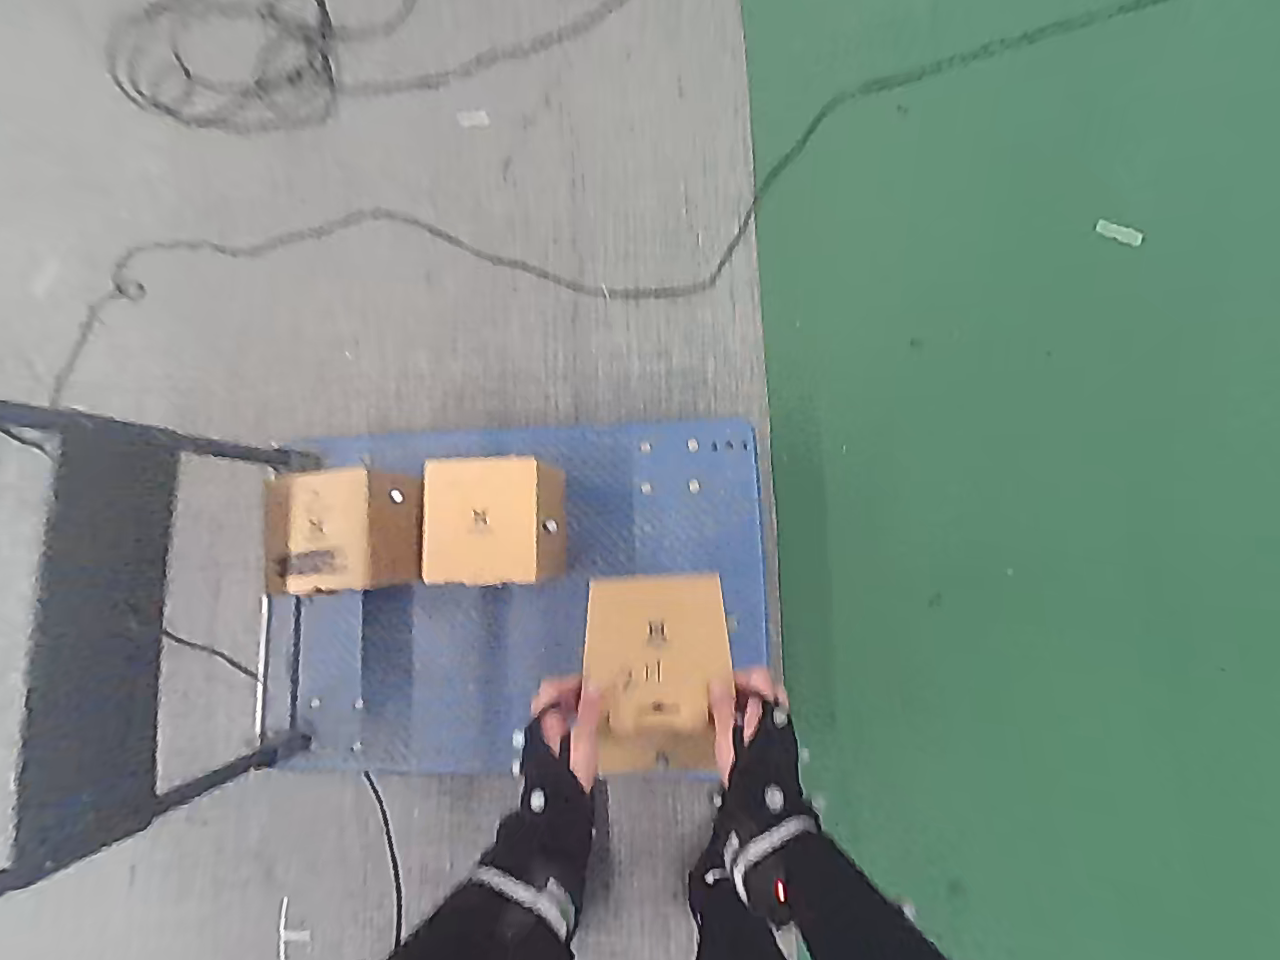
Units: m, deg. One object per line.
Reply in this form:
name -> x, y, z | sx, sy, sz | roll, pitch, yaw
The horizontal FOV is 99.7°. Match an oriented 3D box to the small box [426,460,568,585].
small box -> -0.211, 0.068, 0.840 | 0.168, 0.176, 0.179 | -1, 85, 6

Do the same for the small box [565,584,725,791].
small box -> 0.019, 0.250, 0.663 | 0.168, 0.176, 0.179 | 0, 43, 9
